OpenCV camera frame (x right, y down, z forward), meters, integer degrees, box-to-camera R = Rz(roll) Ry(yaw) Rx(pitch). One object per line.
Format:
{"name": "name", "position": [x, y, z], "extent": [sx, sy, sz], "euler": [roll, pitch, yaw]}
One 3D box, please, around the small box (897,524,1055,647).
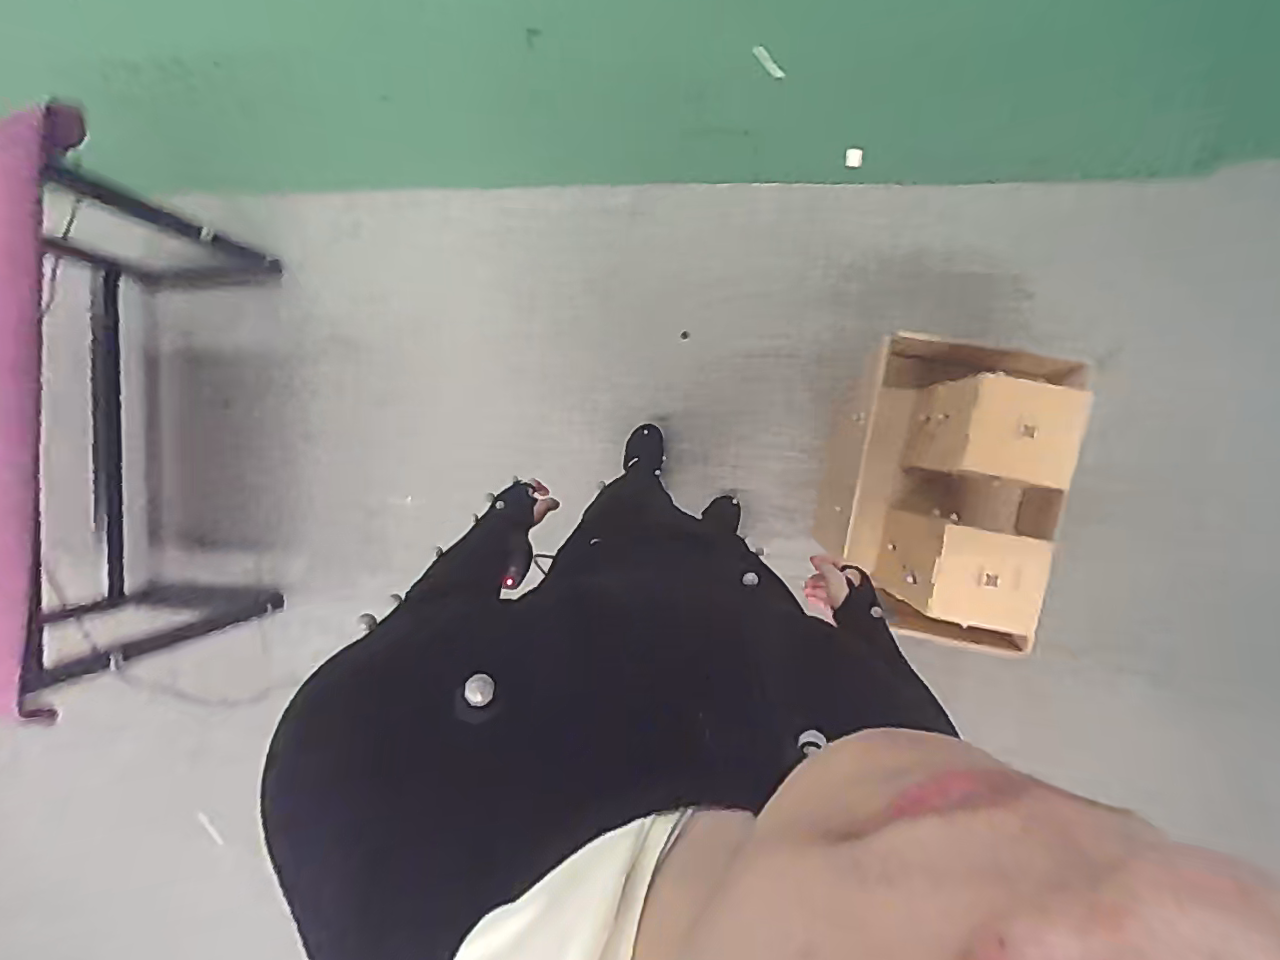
{"name": "small box", "position": [0.595, 0.180, 0.983], "extent": [0.179, 0.176, 0.168], "euler": [11, 94, 6]}

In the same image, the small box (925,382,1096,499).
{"name": "small box", "position": [0.650, -0.071, 0.970], "extent": [0.179, 0.176, 0.168], "euler": [13, 94, 7]}

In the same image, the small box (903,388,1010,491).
{"name": "small box", "position": [0.676, -0.082, 1.132], "extent": [0.168, 0.176, 0.179], "euler": [12, 94, 7]}
